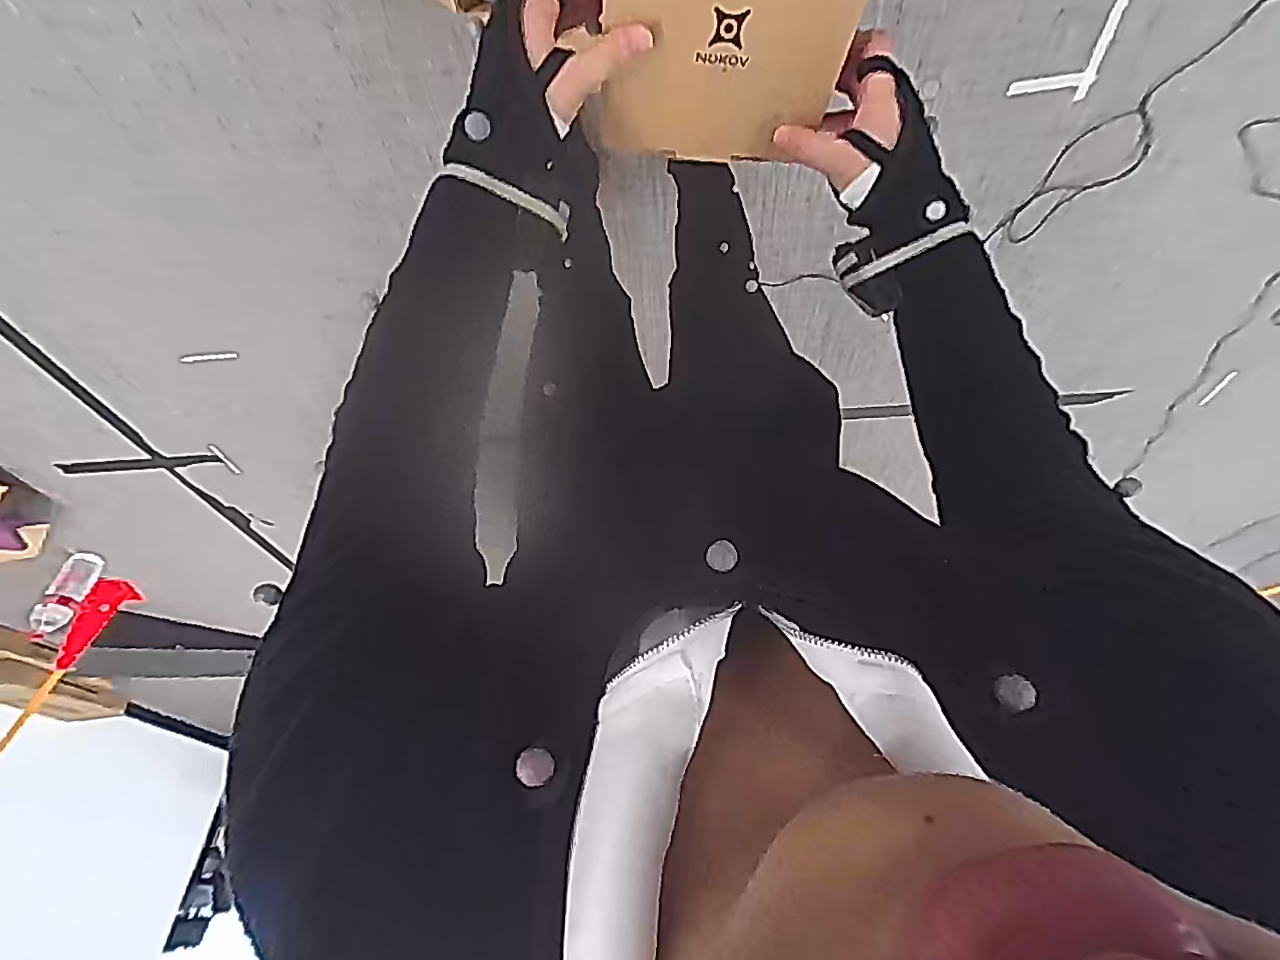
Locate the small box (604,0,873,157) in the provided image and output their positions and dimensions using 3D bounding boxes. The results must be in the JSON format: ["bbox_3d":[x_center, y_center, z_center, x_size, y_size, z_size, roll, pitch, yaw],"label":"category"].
[{"bbox_3d":[0.063,-0.368,0.376,0.168,0.176,0.179,2,158,-4],"label":"small box"}]
